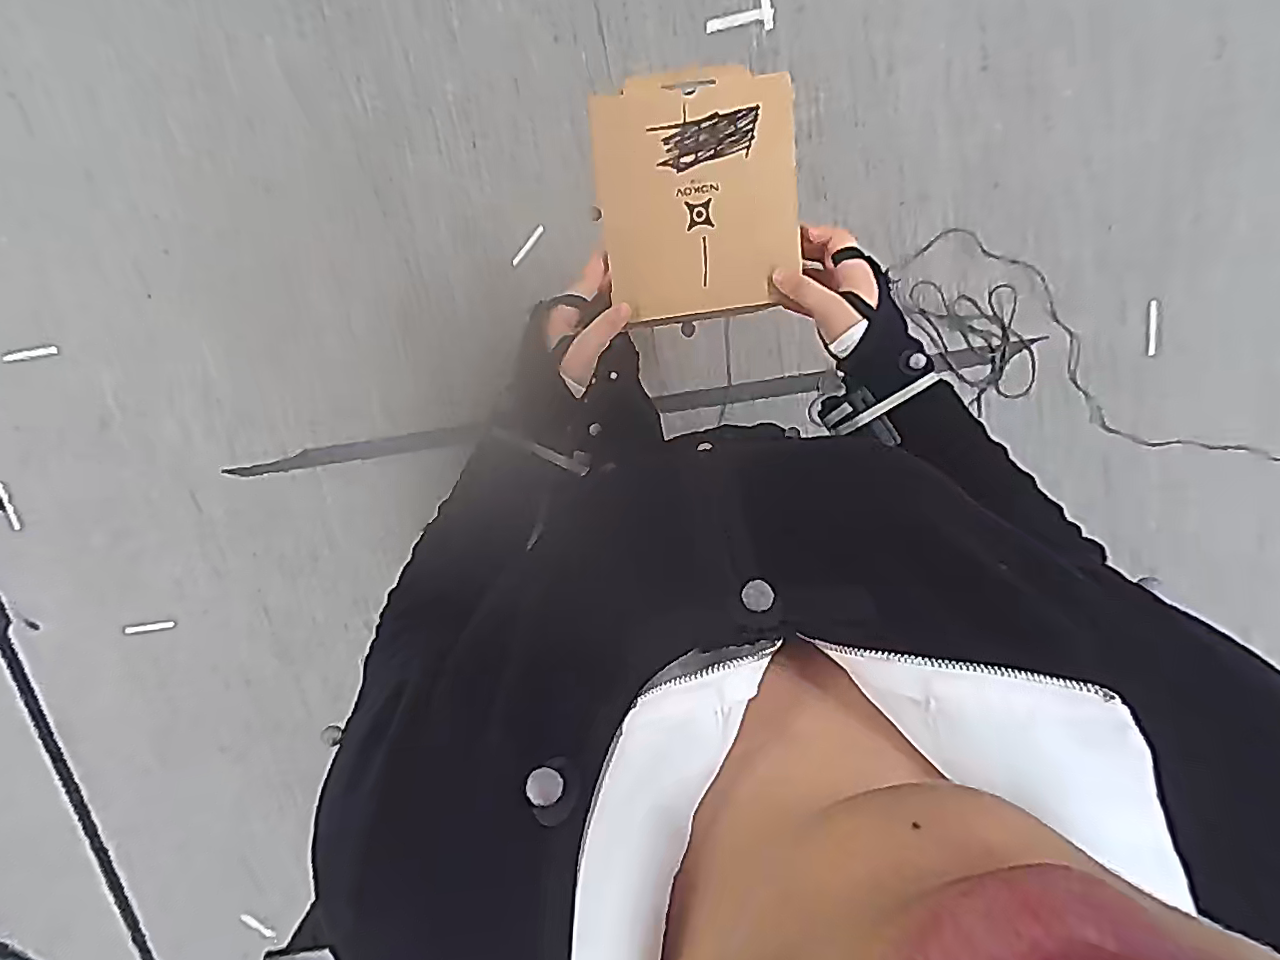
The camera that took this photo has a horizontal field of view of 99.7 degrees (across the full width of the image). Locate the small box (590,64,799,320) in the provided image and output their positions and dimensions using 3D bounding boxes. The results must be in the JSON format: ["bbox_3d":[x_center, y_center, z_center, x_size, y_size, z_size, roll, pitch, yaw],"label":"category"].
[{"bbox_3d":[0.044,-0.259,0.530,0.168,0.176,0.179,-8,105,0],"label":"small box"}]
